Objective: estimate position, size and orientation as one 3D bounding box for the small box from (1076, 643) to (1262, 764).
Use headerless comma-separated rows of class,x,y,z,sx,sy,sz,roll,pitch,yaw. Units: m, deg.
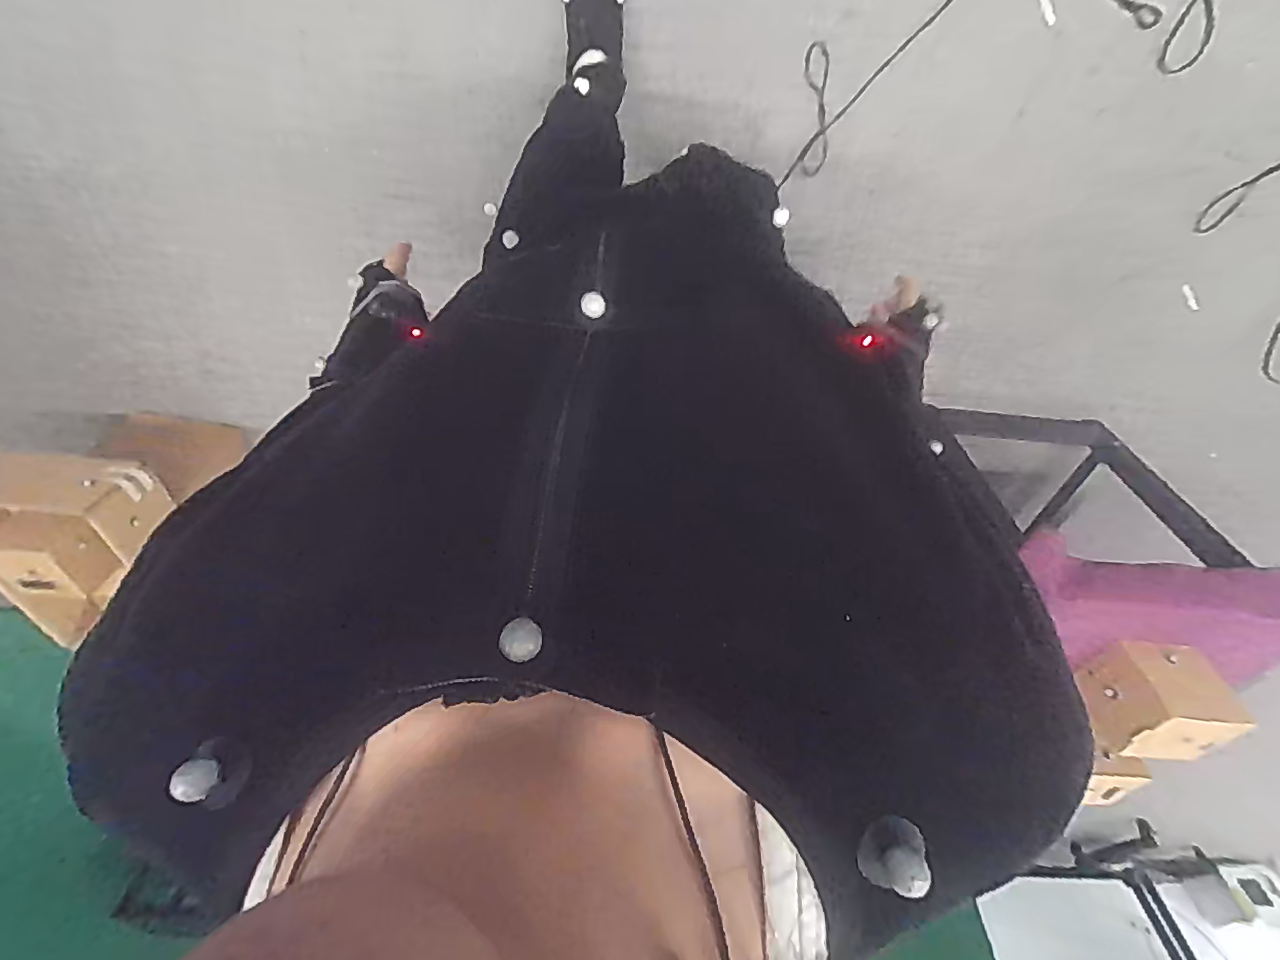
small box,1.062,0.454,1.109,0.179,0.176,0.168,7,131,-3
